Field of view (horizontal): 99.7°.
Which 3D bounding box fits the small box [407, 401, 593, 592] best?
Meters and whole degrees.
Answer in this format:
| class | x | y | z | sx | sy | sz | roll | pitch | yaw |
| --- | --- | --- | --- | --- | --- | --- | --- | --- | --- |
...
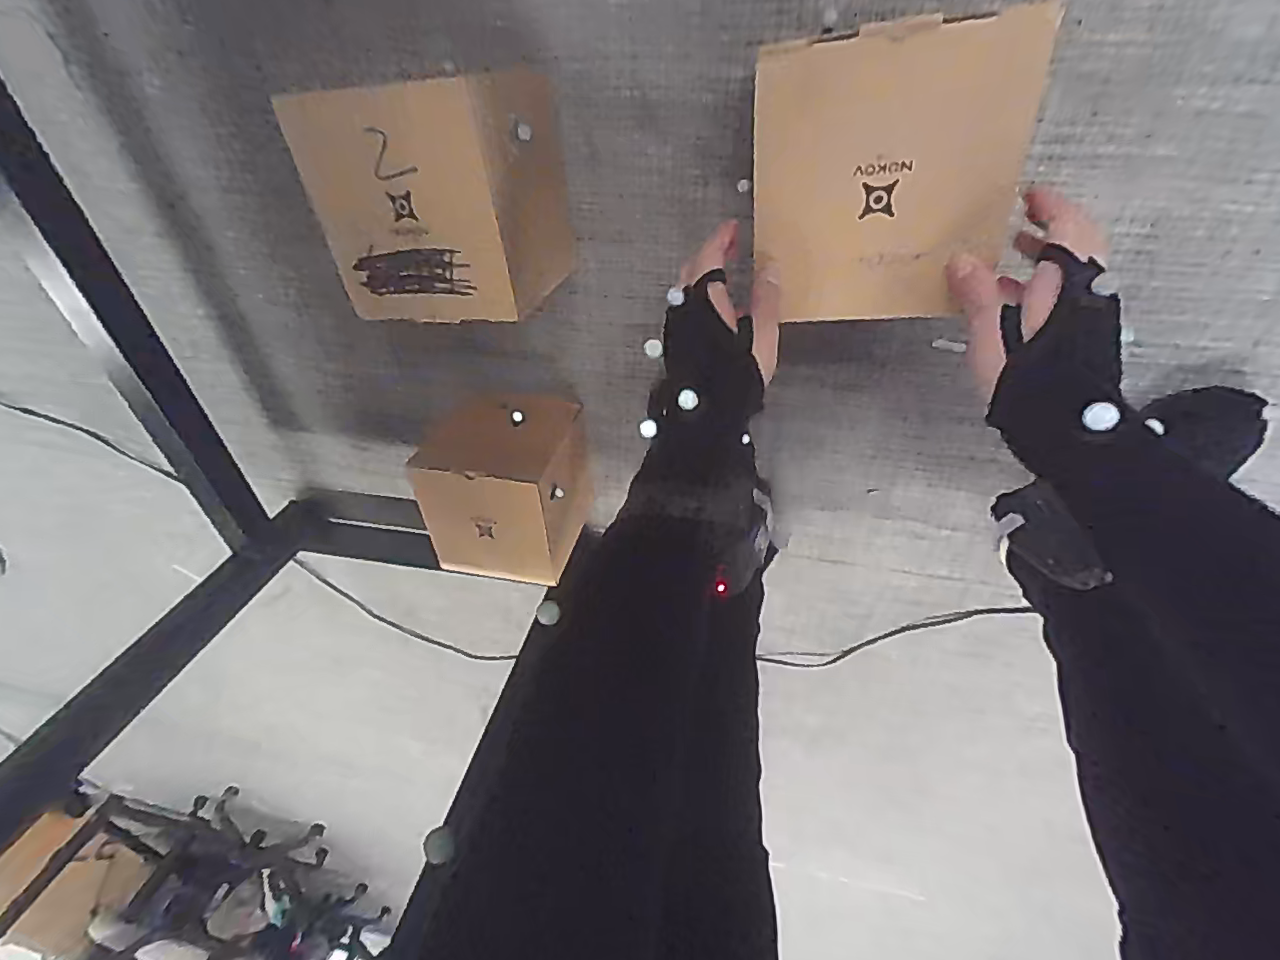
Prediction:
| class | x | y | z | sx | sy | sz | roll | pitch | yaw |
| --- | --- | --- | --- | --- | --- | --- | --- | --- | --- |
| small box | -0.167 | 0.017 | 0.716 | 0.168 | 0.176 | 0.179 | 6 | 128 | 12 |
